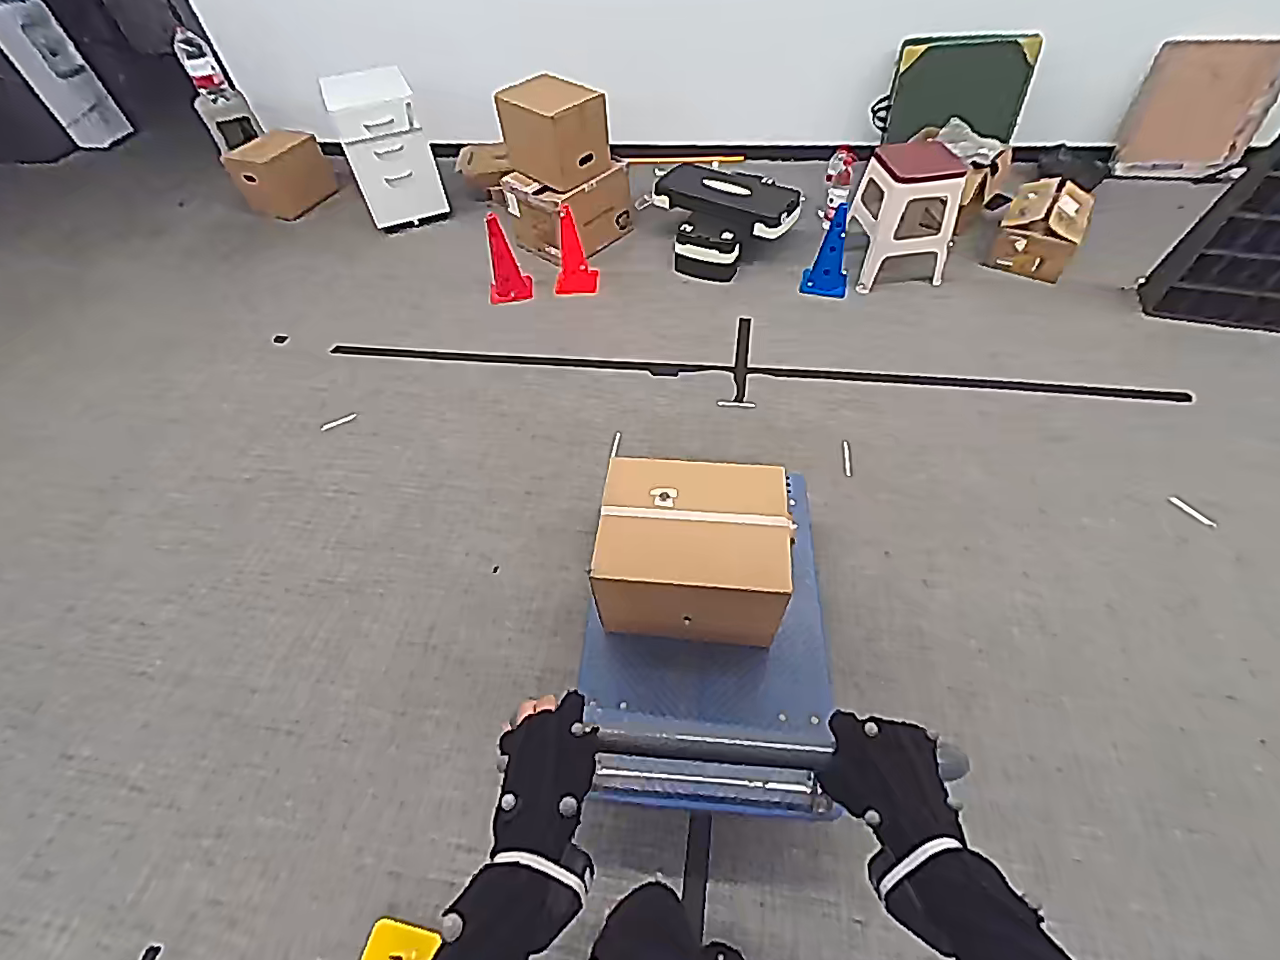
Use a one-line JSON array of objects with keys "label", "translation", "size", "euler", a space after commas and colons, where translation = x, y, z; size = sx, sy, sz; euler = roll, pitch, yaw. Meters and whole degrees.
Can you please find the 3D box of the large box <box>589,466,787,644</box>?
[{"label": "large box", "translation": [0.118, 0.184, 1.287], "size": [0.408, 0.320, 0.320], "euler": [3, 54, 7]}]
